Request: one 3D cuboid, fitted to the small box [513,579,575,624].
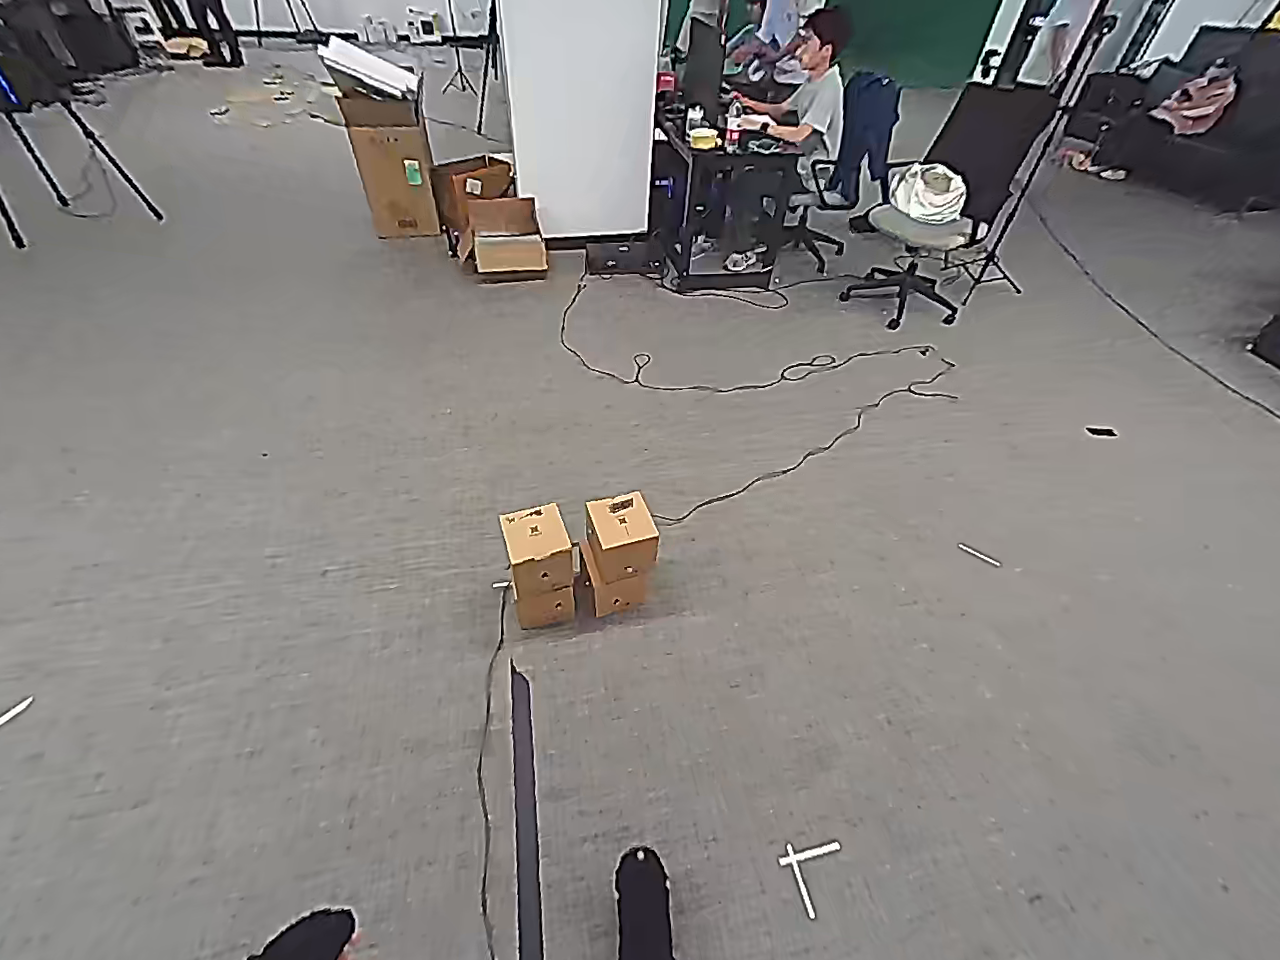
[{"bbox_3d":[-0.295,0.317,1.643,0.168,0.176,0.179,-9,46,-14],"label":"small box"}]

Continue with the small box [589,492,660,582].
[{"bbox_3d":[-0.051,0.166,1.576,0.168,0.176,0.179,-12,49,-15],"label":"small box"}]

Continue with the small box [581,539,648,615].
[{"bbox_3d":[-0.083,0.288,1.684,0.168,0.176,0.179,-13,48,-16],"label":"small box"}]

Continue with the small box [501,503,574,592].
[{"bbox_3d":[-0.287,0.198,1.529,0.168,0.176,0.179,-12,48,-16],"label":"small box"}]
